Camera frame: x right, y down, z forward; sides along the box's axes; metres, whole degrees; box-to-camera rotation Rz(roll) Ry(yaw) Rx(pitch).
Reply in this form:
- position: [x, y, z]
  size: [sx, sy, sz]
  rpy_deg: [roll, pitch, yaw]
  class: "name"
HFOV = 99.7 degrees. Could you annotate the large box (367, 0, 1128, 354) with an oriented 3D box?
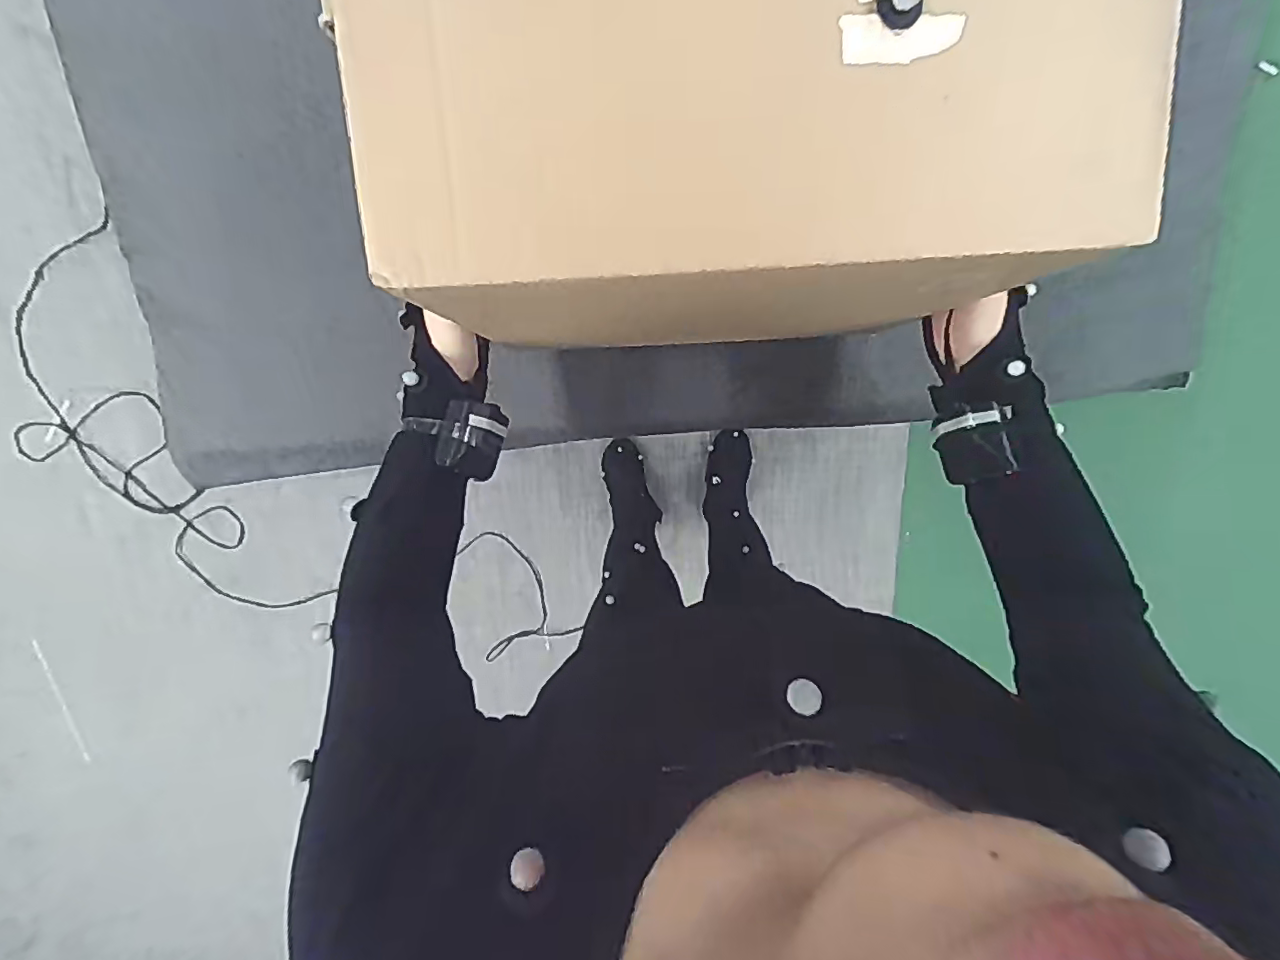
- position: [0.051, -0.287, 0.428]
  size: [0.408, 0.320, 0.320]
  rpy_deg: [-4, 98, 0]
  class: "large box"
